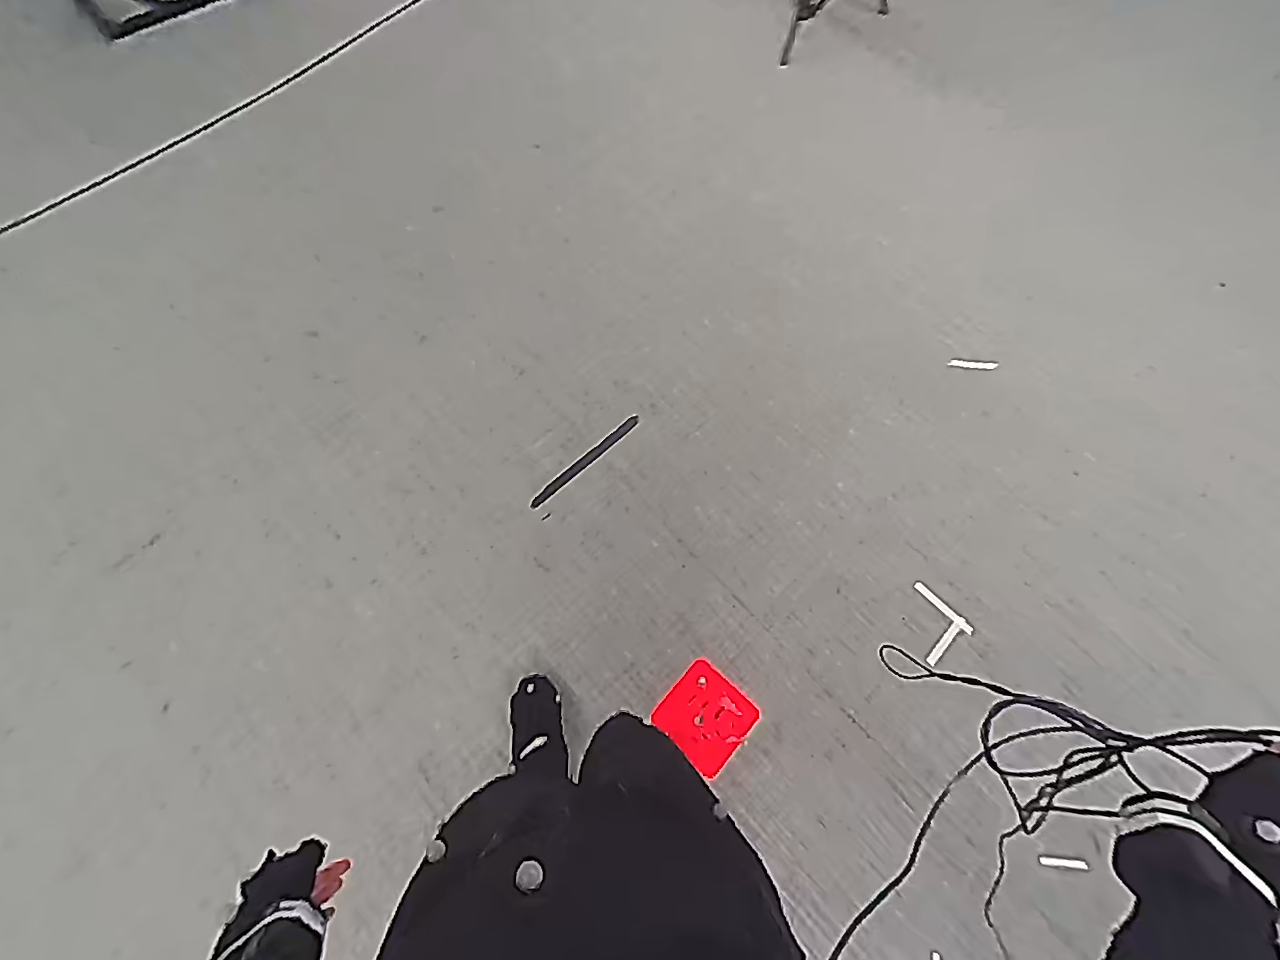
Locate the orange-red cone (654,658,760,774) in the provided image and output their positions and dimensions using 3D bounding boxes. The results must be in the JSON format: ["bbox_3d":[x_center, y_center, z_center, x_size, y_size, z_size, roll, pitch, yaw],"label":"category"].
[{"bbox_3d":[0.163,0.492,1.111,0.198,0.360,0.199,42,74,13],"label":"orange-red cone"}]
